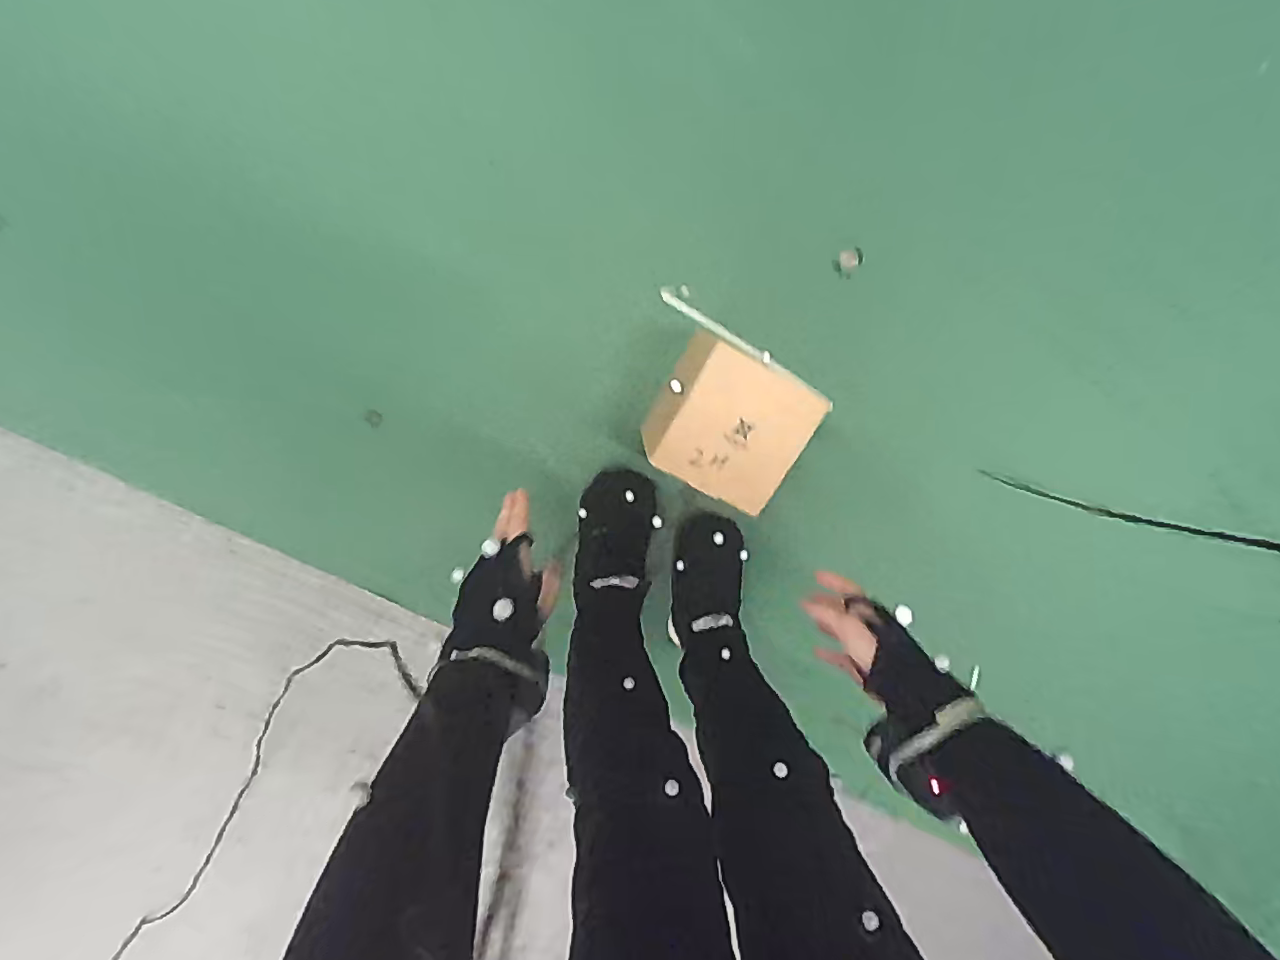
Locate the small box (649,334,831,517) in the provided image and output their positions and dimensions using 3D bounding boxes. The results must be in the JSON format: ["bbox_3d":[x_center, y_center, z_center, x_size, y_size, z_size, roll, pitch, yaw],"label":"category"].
[{"bbox_3d":[0.122,-0.085,0.748,0.168,0.176,0.179,27,107,-12],"label":"small box"}]
